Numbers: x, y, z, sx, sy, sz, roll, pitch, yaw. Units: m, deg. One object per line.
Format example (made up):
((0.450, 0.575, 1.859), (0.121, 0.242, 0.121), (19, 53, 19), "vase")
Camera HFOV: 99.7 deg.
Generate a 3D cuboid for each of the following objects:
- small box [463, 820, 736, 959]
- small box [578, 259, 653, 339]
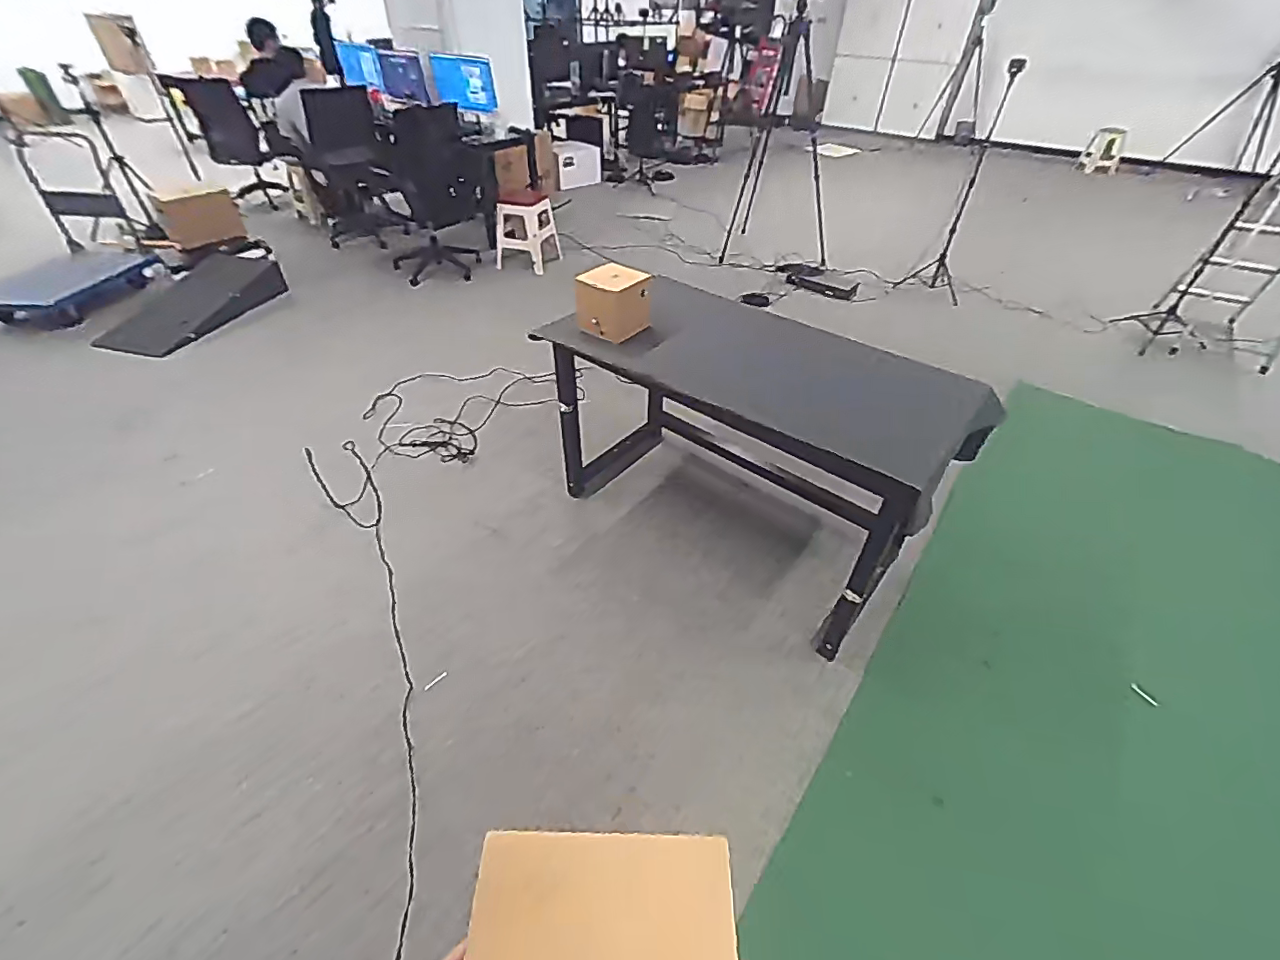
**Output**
((-0.030, 0.351, 0.365), (0.168, 0.176, 0.179), (3, 47, -3), "small box")
((-0.079, -0.566, 1.689), (0.168, 0.176, 0.179), (28, 48, 26), "small box")
